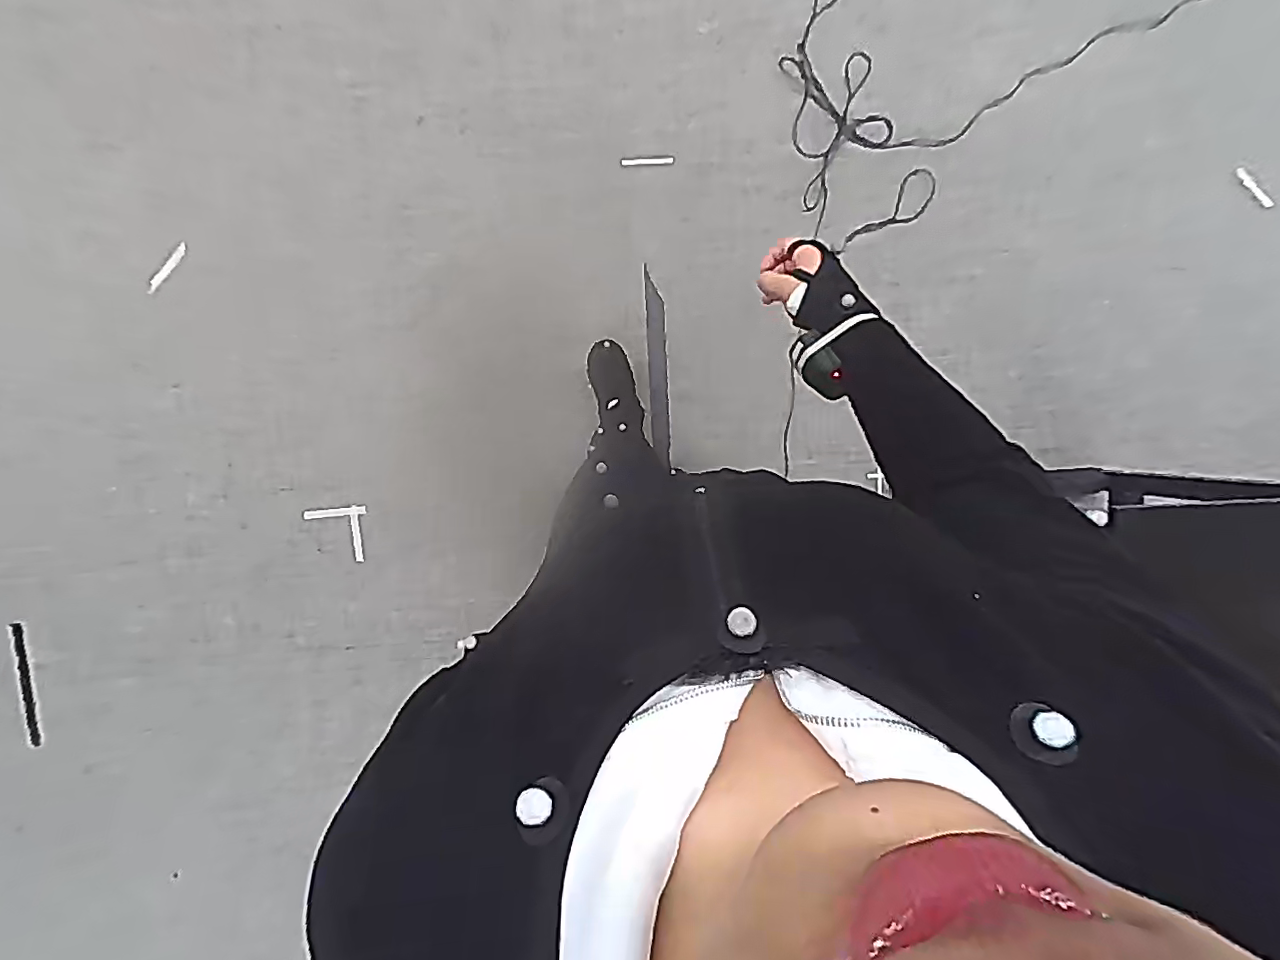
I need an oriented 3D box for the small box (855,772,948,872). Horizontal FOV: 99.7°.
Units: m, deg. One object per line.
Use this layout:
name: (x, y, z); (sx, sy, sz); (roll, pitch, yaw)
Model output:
small box: (0.706, 0.920, 1.471); (0.179, 0.176, 0.168); (-4, 93, 0)
